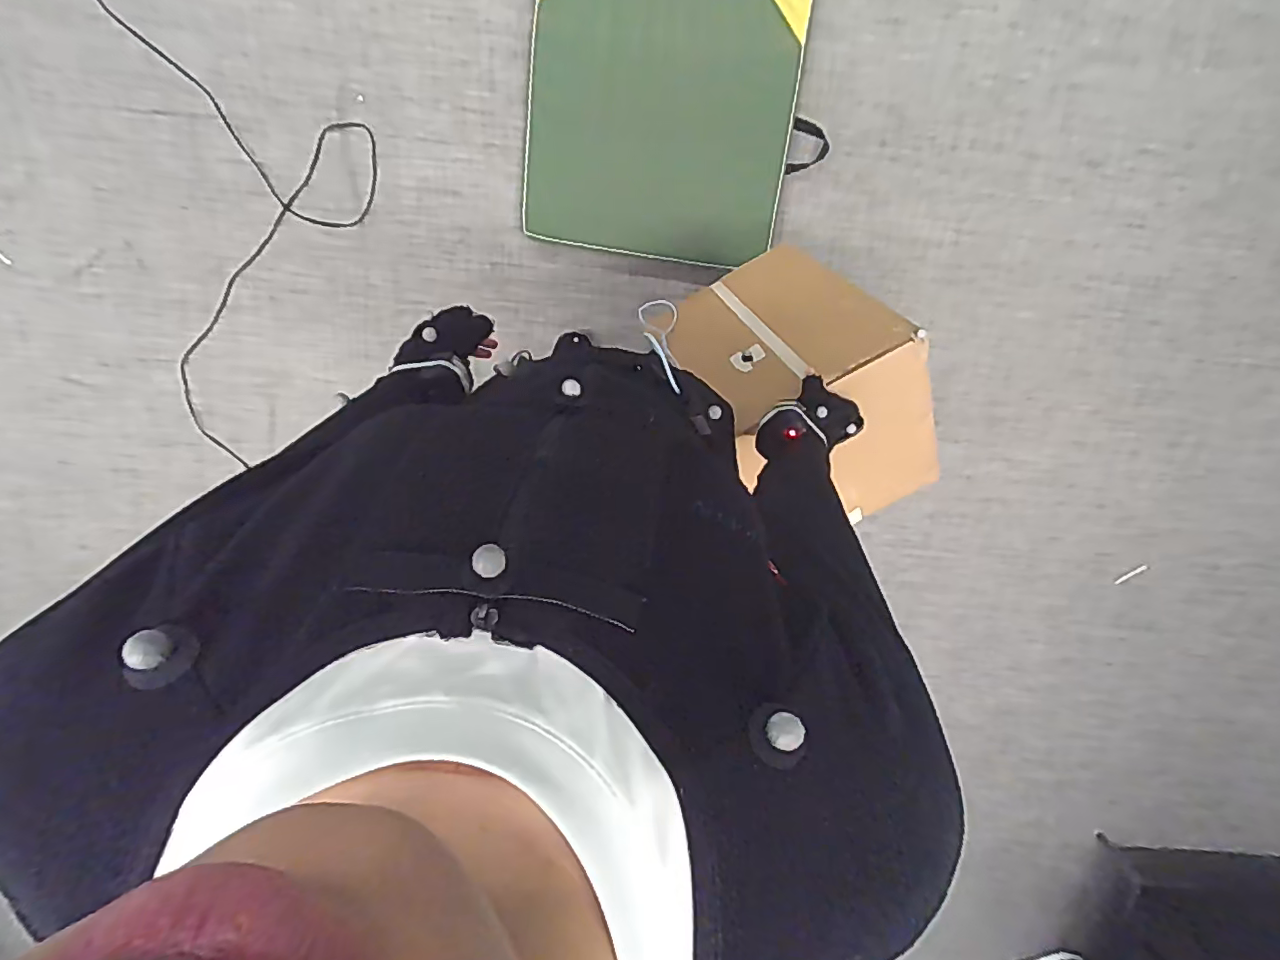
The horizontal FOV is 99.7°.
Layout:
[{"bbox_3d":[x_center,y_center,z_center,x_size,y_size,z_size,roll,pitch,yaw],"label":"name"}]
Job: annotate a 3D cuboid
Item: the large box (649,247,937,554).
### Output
[{"bbox_3d":[0.261,-0.150,0.971,0.320,0.408,0.320,-29,132,6],"label":"large box"}]
